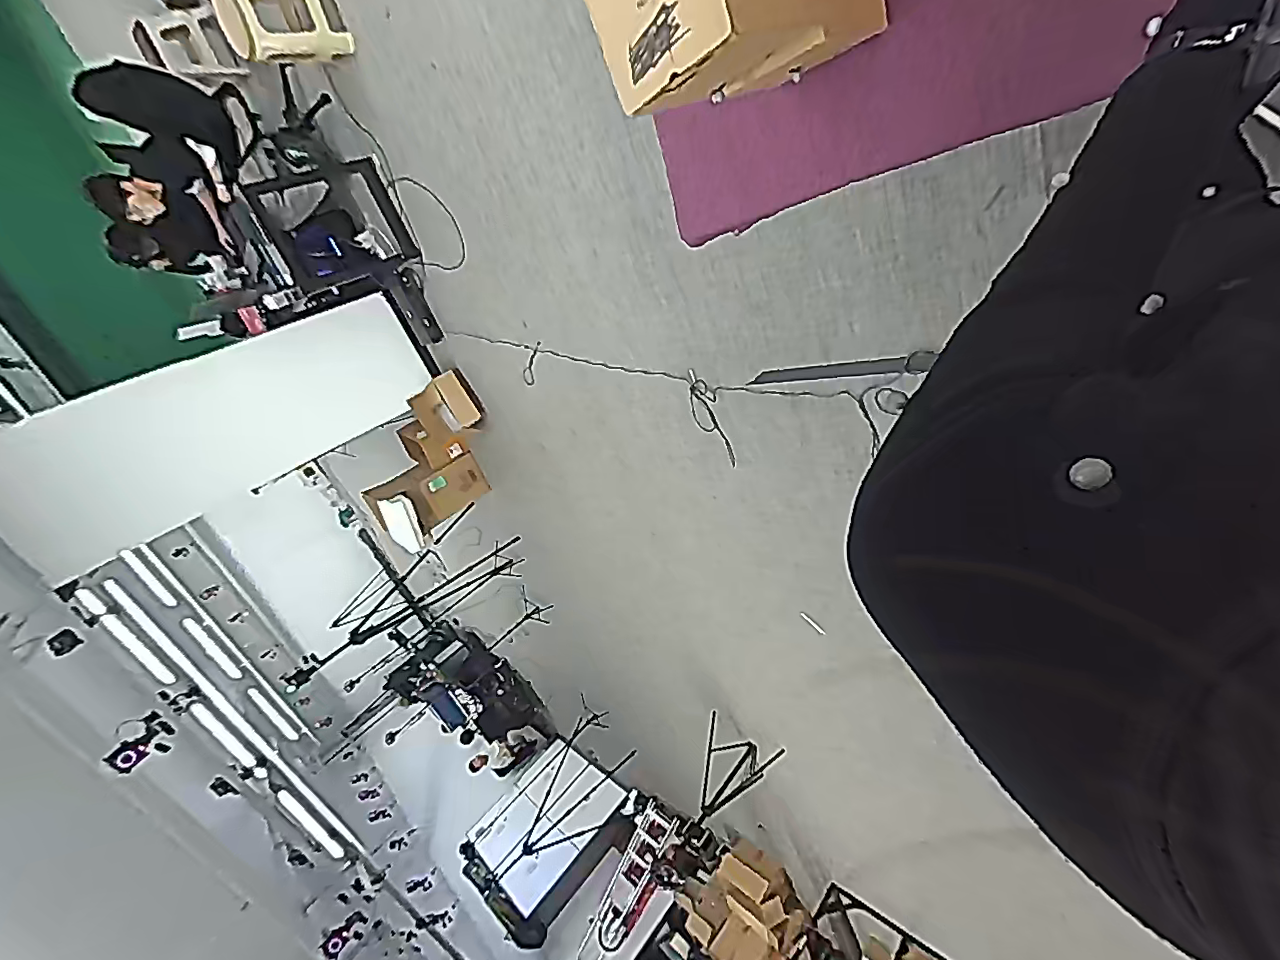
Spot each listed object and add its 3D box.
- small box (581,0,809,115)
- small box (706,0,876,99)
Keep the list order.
[{"bbox_3d":[0.054,-0.533,0.574,0.168,0.176,0.179,3,124,50],"label":"small box"},{"bbox_3d":[0.170,-0.610,0.663,0.168,0.176,0.179,8,128,47],"label":"small box"}]
